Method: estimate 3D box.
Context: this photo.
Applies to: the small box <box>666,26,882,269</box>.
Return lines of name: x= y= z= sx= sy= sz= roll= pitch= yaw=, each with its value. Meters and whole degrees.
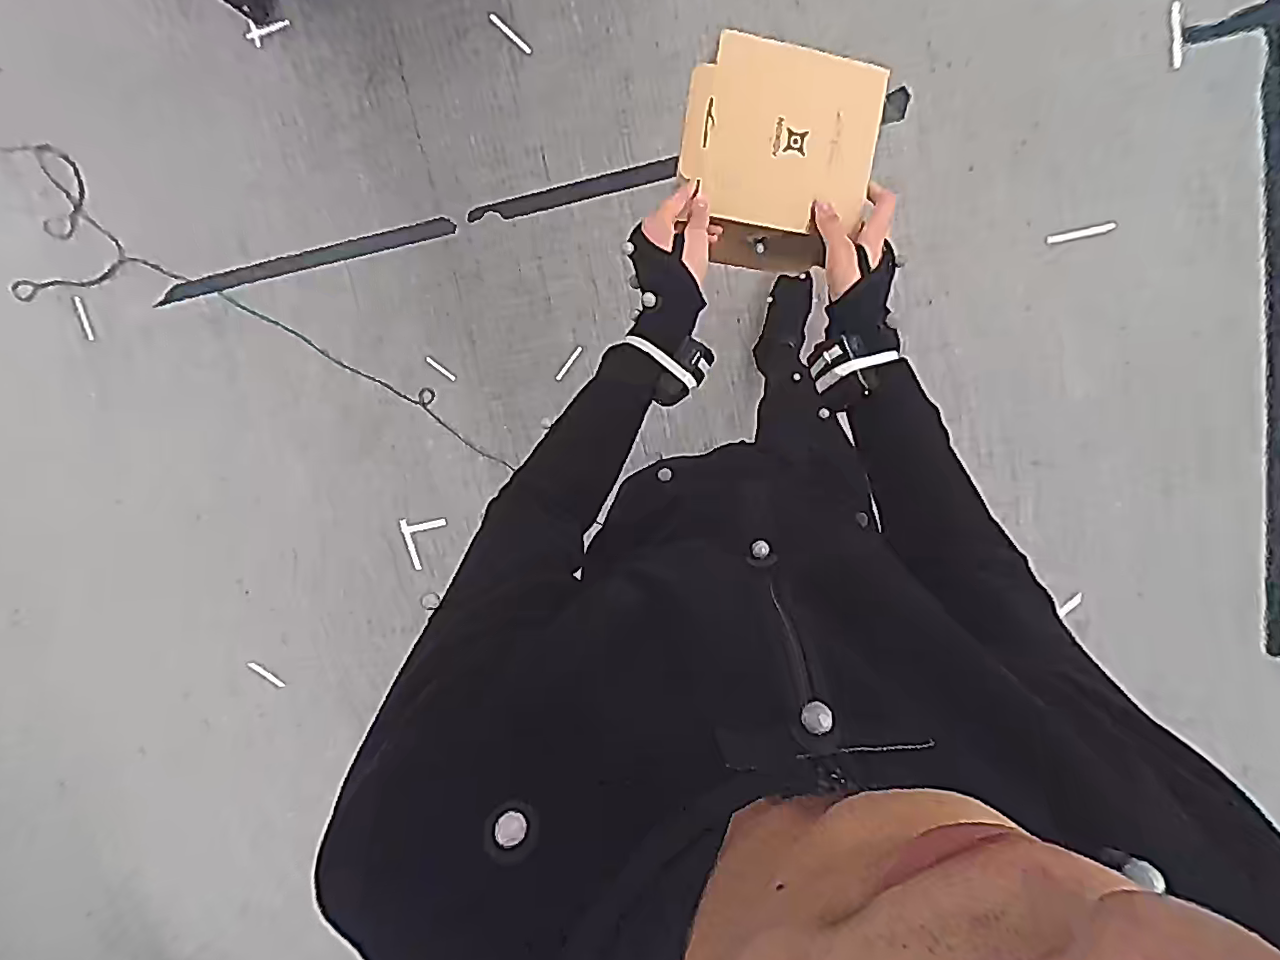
small box: x=0.131 y=-0.347 z=0.603 sx=0.179 sy=0.176 sz=0.168 roll=6 pitch=98 yaw=-8
